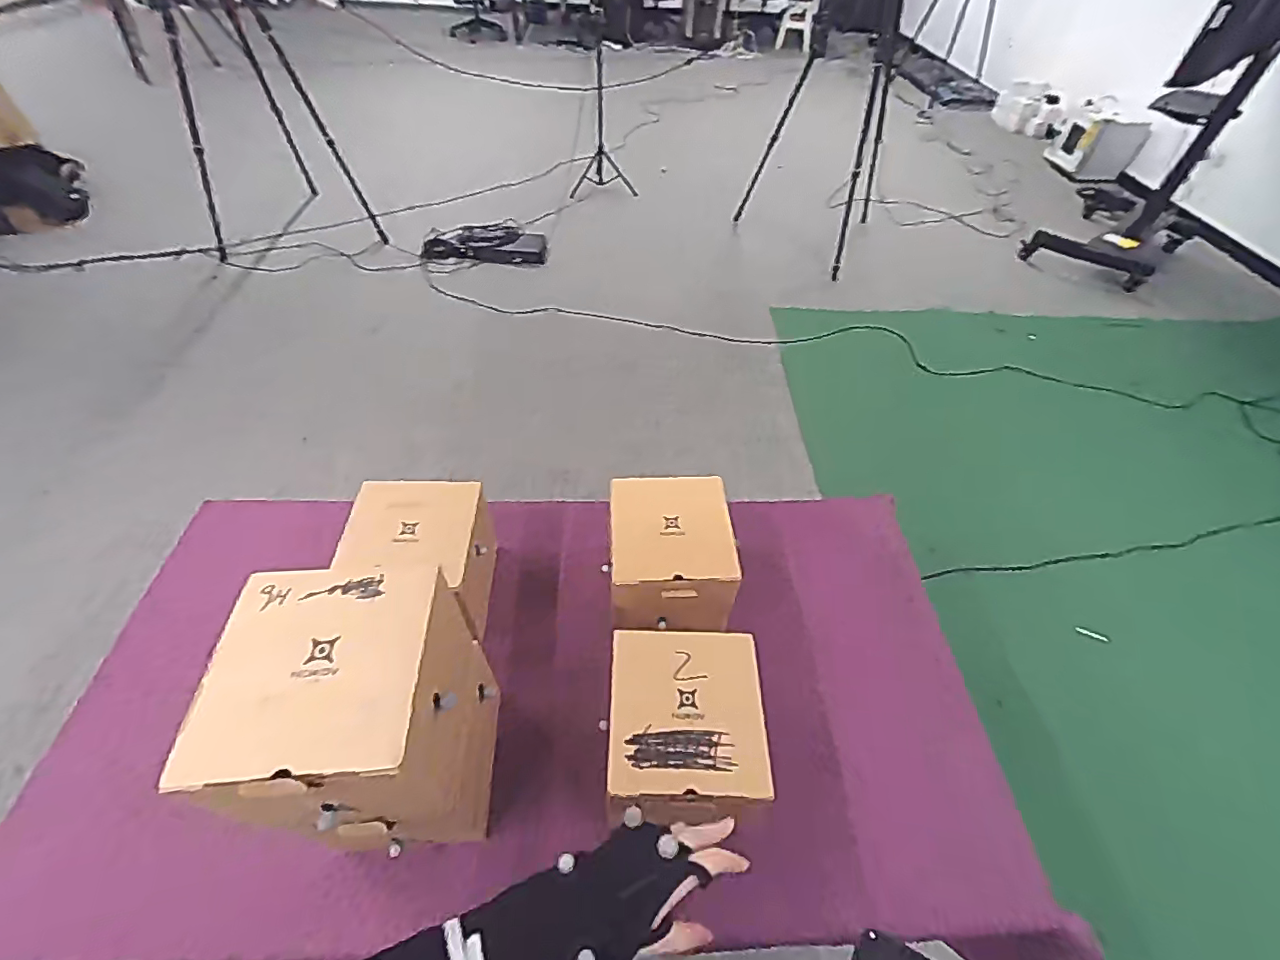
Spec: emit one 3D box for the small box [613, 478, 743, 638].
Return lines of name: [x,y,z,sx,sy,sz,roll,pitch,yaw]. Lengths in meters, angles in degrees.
small box: [0.044,0.115,0.801,0.168,0.176,0.179,-2,51,-4]

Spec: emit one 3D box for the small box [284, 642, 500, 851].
small box: [-0.261,0.306,0.622,0.168,0.176,0.179,-2,49,-4]

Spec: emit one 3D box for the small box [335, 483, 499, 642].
small box: [-0.305,0.123,0.778,0.168,0.176,0.179,1,49,-3]

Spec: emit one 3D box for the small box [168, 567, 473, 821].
small box: [-0.258,0.200,0.496,0.168,0.176,0.179,-2,50,-5]
